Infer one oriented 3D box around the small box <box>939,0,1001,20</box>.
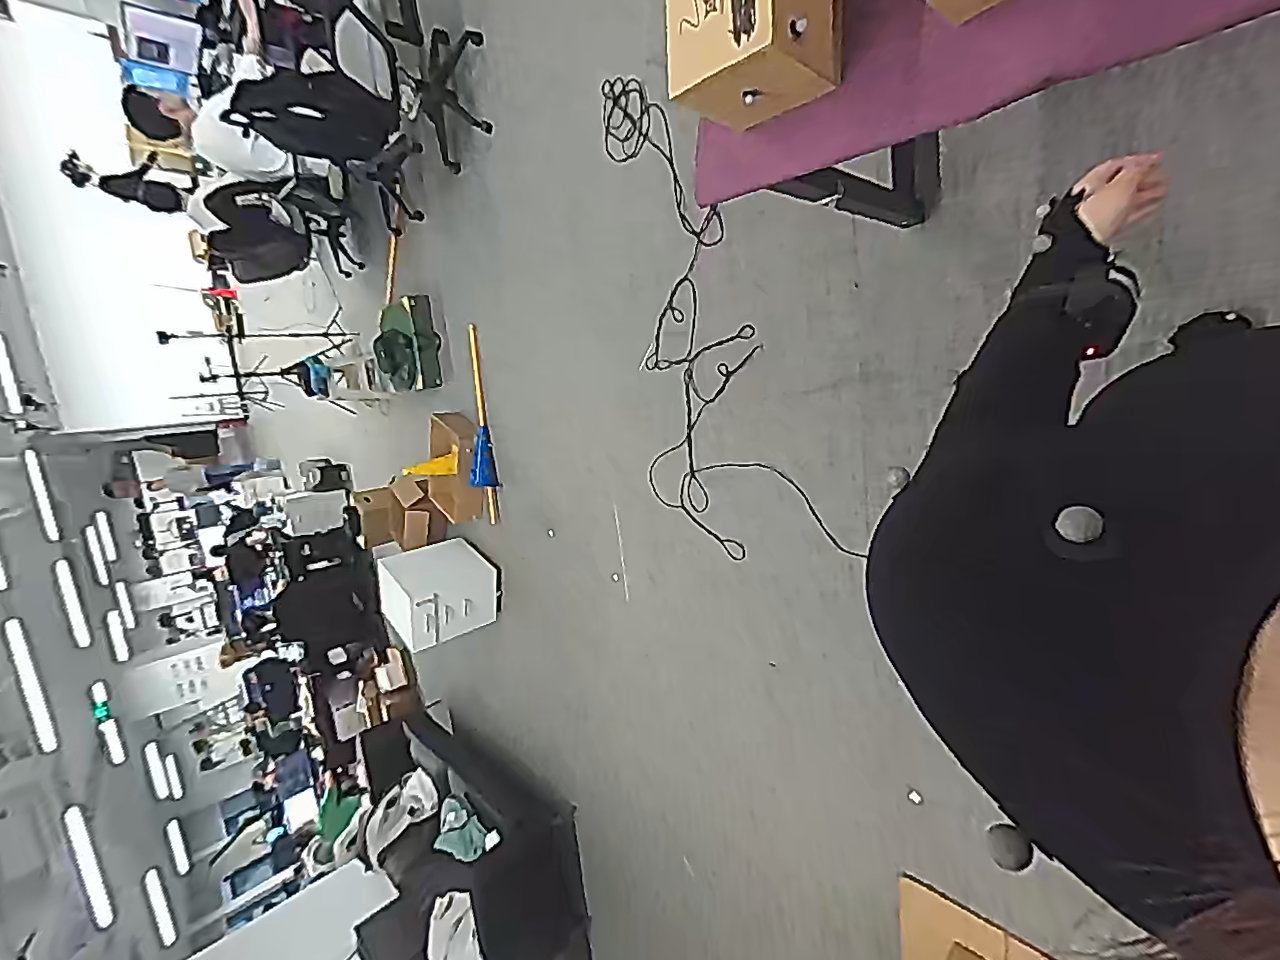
[{"bbox_3d":[0.360,-0.613,0.525,0.168,0.176,0.179,1,101,48],"label":"small box"}]
